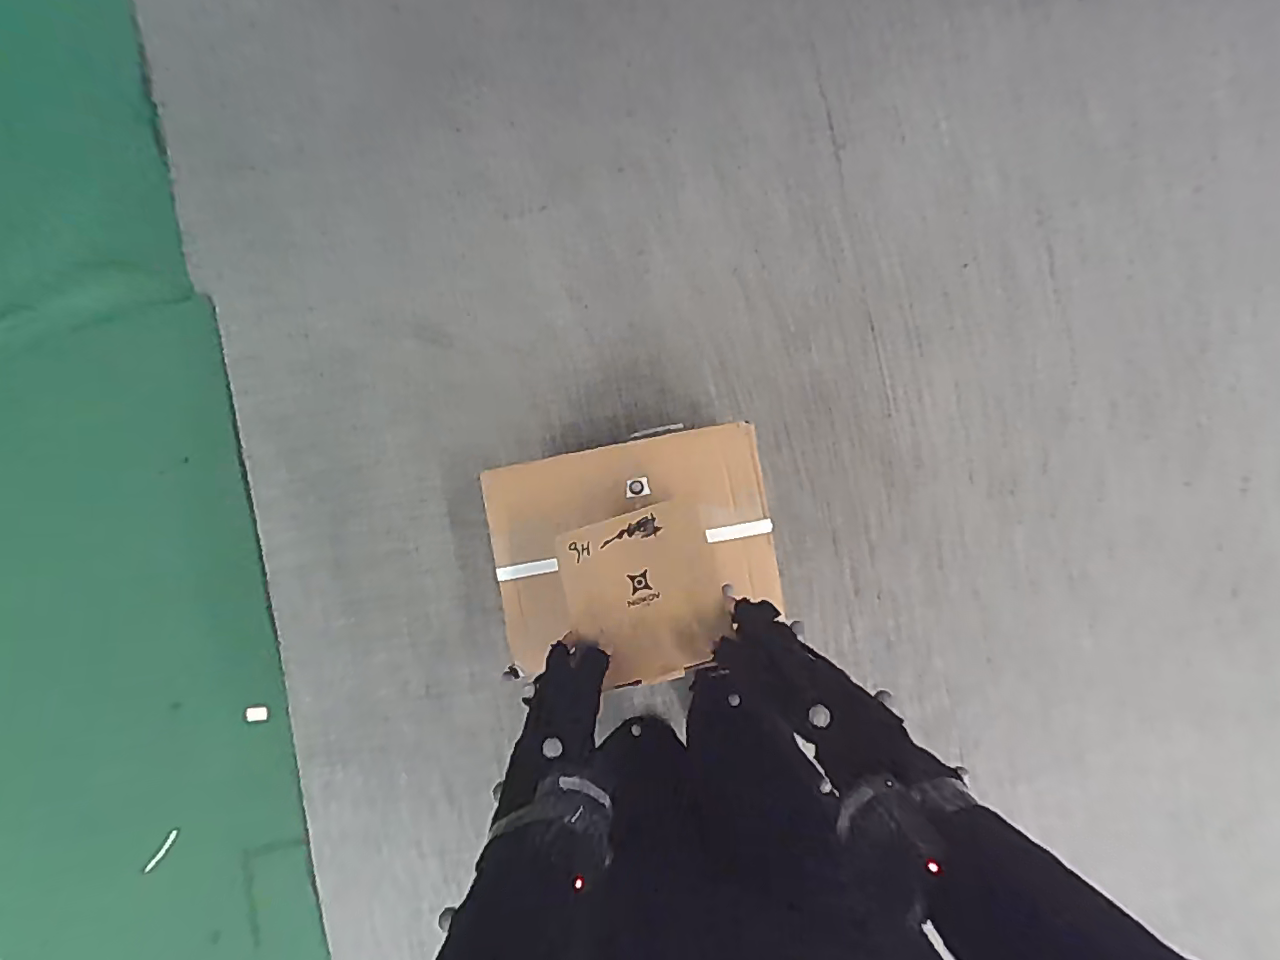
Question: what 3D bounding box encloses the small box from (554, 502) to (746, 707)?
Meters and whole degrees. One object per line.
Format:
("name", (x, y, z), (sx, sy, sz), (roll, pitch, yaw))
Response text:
("small box", (0.020, 0.150, 0.637), (0.168, 0.176, 0.179), (-20, 68, 6))
